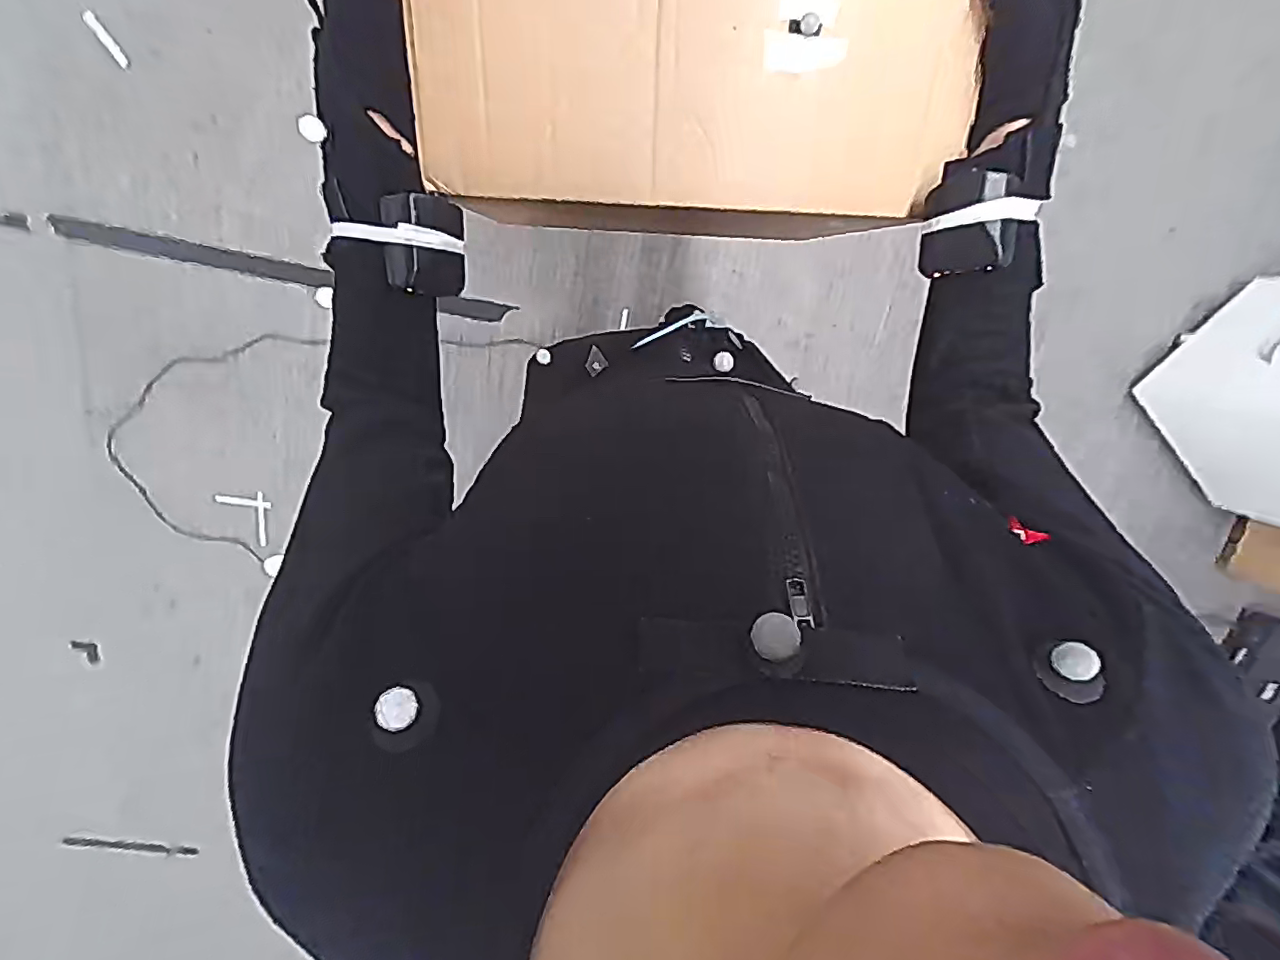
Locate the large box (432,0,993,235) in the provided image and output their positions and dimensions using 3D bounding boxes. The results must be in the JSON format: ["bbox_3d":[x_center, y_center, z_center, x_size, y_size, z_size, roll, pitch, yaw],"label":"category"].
[{"bbox_3d":[0.043,-0.413,0.504,0.408,0.320,0.320,1,112,-6],"label":"large box"}]
